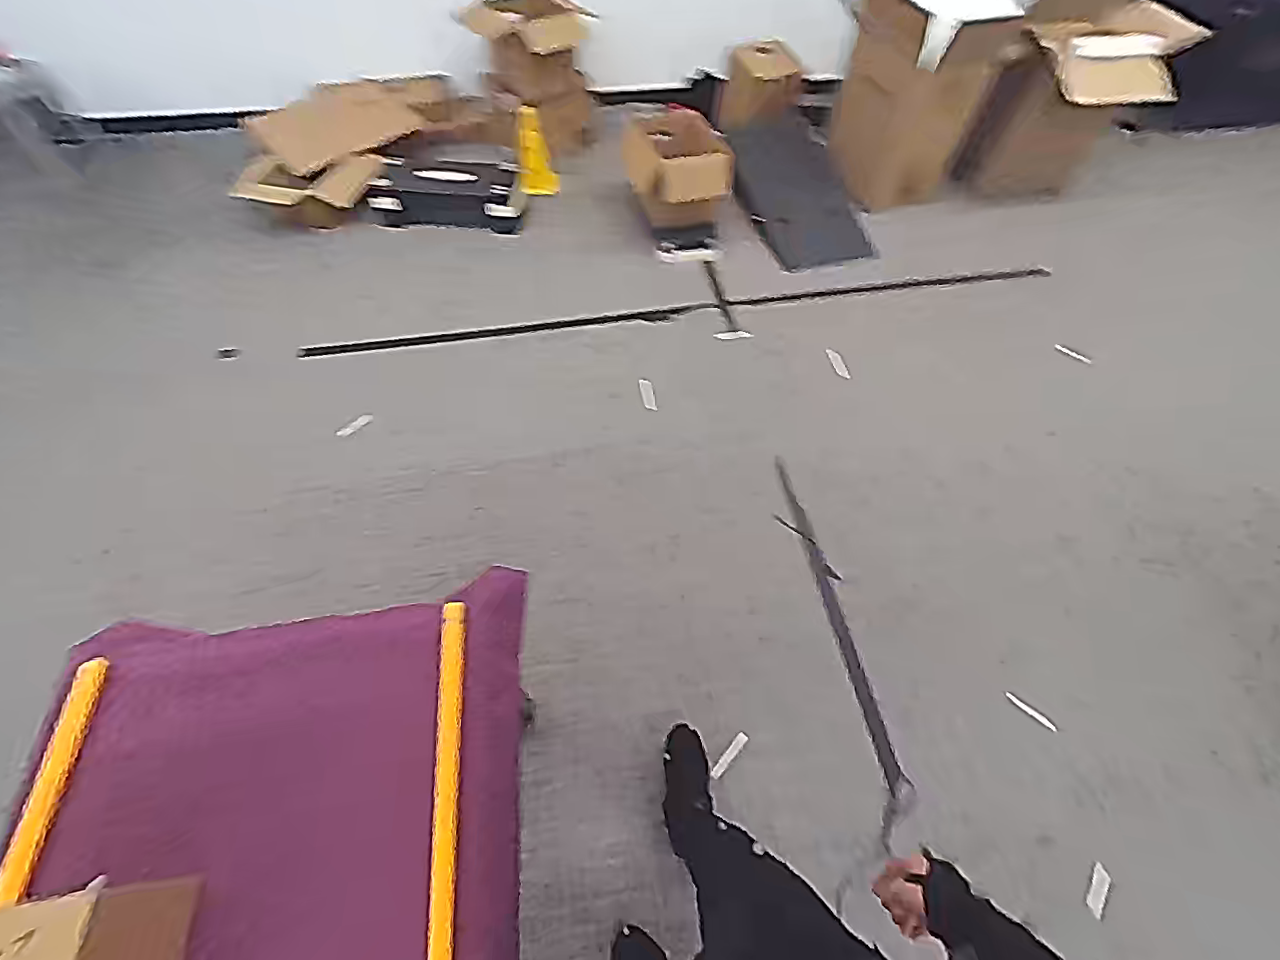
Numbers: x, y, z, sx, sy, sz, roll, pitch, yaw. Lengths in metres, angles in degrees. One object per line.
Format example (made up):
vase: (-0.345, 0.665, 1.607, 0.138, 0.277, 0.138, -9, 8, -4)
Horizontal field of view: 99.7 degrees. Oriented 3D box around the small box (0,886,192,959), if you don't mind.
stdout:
small box: (-0.610, 0.542, 0.550, 0.168, 0.176, 0.179, -7, 58, -8)
